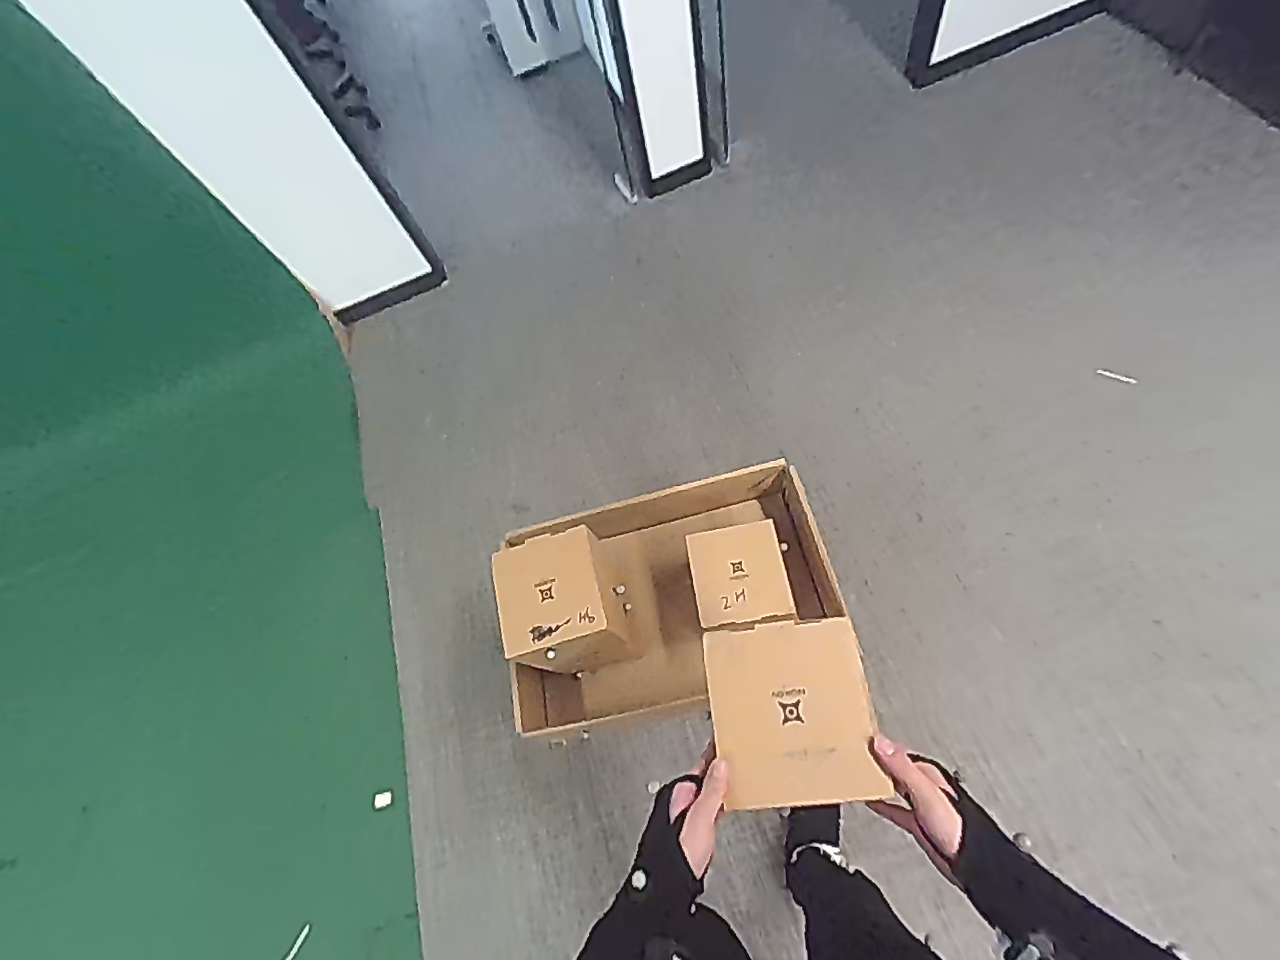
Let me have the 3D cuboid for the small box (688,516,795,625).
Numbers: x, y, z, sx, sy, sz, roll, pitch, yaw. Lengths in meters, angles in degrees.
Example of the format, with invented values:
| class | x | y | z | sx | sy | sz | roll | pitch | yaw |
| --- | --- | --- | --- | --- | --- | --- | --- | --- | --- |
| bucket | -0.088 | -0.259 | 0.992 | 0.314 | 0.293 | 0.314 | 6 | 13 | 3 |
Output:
| class | x | y | z | sx | sy | sz | roll | pitch | yaw |
| --- | --- | --- | --- | --- | --- | --- | --- | --- | --- |
| small box | 0.194 | 0.189 | 1.040 | 0.168 | 0.176 | 0.179 | -12 | 65 | 9 |

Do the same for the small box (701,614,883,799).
| class | x | y | z | sx | sy | sz | roll | pitch | yaw |
| --- | --- | --- | --- | --- | --- | --- | --- | --- | --- |
| small box | 0.166 | 0.270 | 0.642 | 0.168 | 0.176 | 0.179 | -8 | 63 | 8 |

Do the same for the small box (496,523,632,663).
| class | x | y | z | sx | sy | sz | roll | pitch | yaw |
| --- | --- | --- | --- | --- | --- | --- | --- | --- | --- |
| small box | -0.126 | 0.200 | 0.930 | 0.168 | 0.176 | 0.179 | -19 | 63 | 7 |
